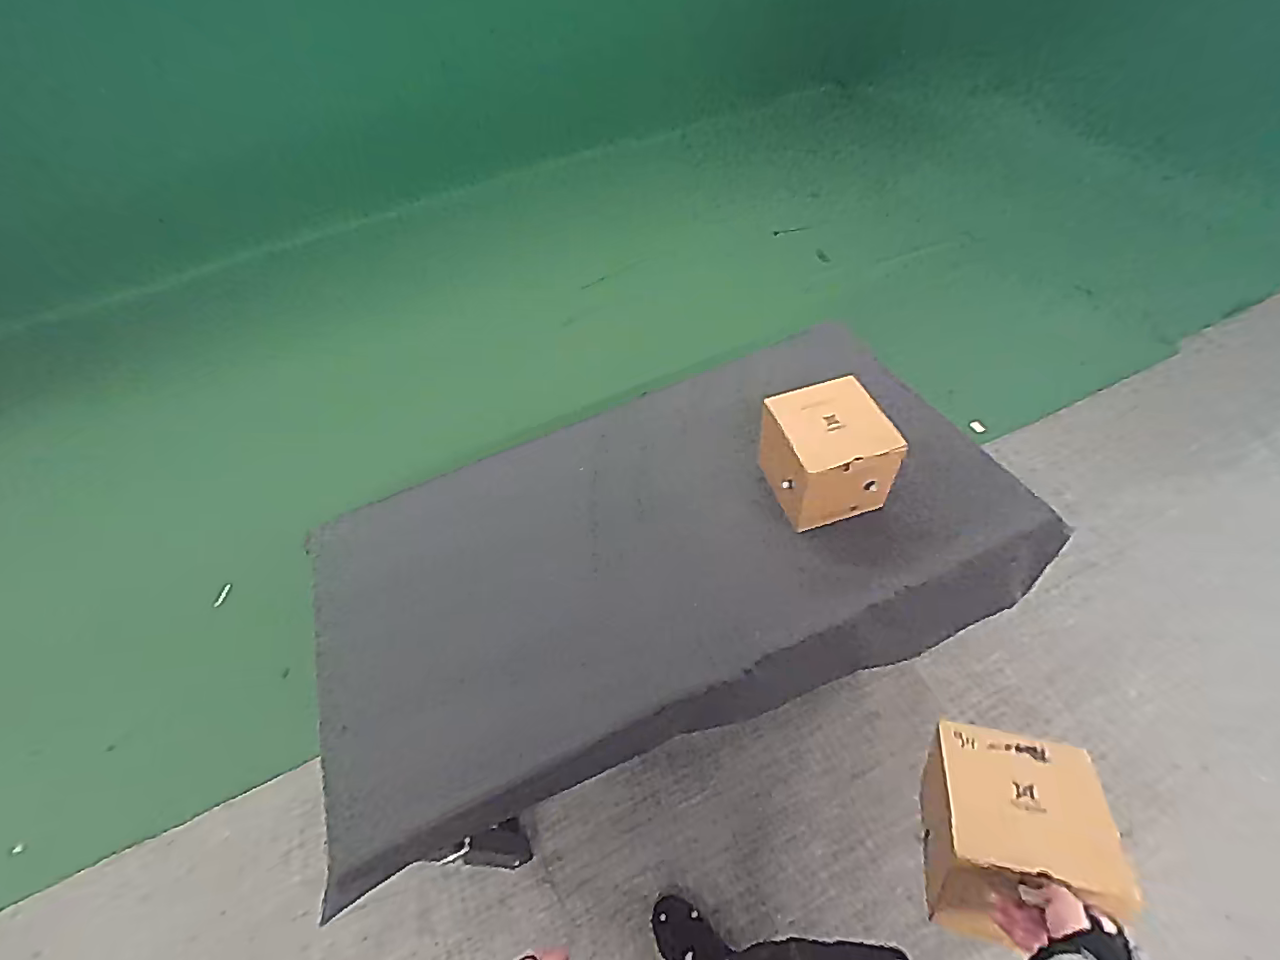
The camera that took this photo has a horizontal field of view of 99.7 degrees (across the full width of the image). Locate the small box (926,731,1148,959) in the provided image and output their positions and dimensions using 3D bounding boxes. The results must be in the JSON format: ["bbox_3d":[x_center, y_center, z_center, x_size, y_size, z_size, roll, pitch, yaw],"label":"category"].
[{"bbox_3d":[0.452,0.449,0.650,0.168,0.176,0.179,8,31,21],"label":"small box"}]

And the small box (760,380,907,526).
[{"bbox_3d":[0.319,-0.038,0.932,0.168,0.176,0.179,-14,51,-6],"label":"small box"}]
